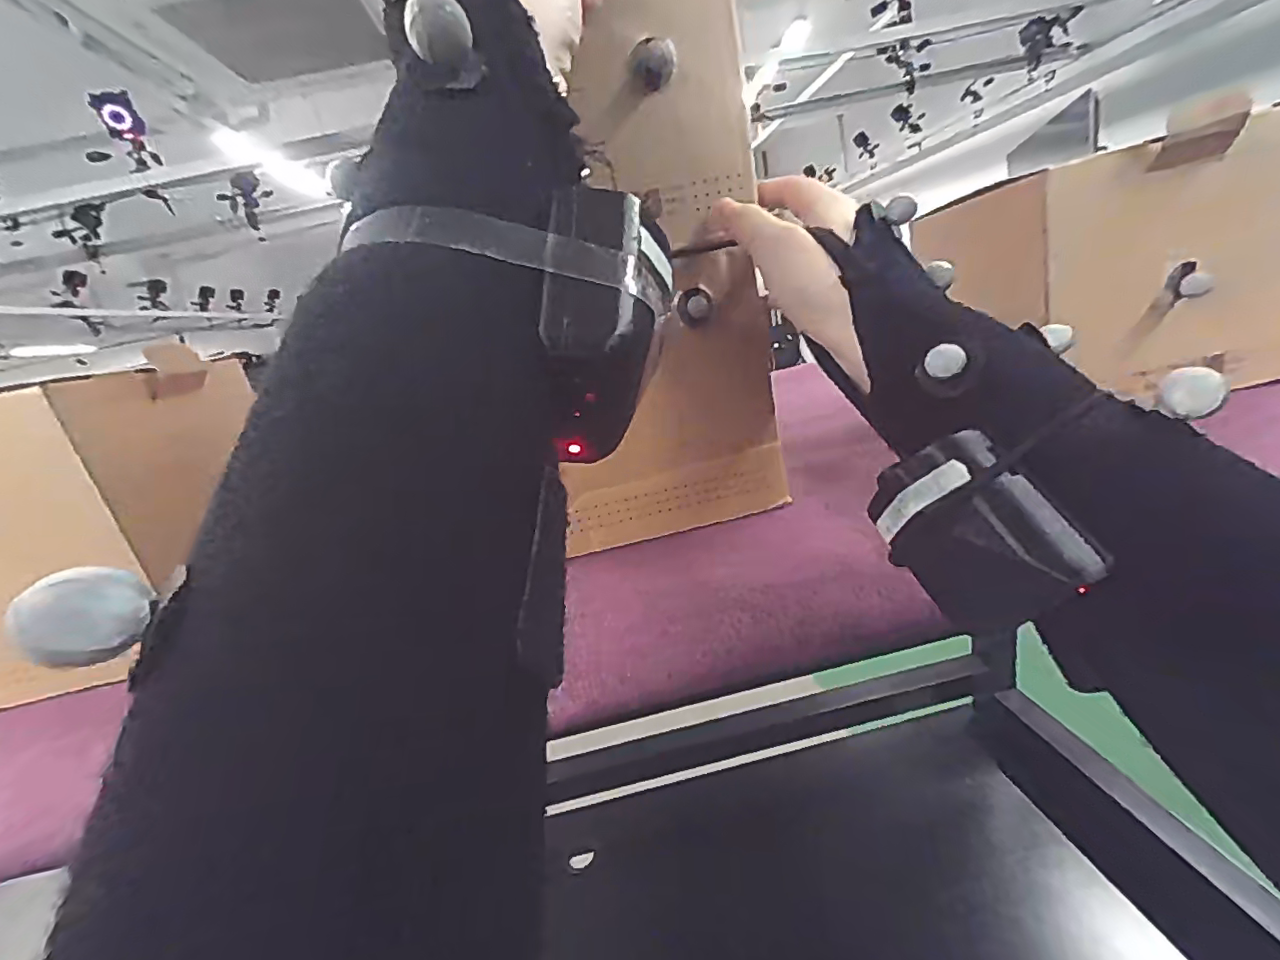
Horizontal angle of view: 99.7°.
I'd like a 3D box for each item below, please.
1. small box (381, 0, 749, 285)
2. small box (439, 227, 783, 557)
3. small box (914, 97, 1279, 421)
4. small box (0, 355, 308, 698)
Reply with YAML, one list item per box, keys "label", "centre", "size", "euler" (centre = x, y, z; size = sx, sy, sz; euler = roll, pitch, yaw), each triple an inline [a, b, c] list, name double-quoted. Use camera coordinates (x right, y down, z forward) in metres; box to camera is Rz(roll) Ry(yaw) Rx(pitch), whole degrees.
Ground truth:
- label: "small box"
  centre: [-0.041, -0.213, 0.341]
  size: [0.168, 0.176, 0.179]
  euler: [-12, 16, -6]
- label: "small box"
  centre: [-0.015, -0.060, 0.388]
  size: [0.179, 0.176, 0.168]
  euler: [-13, 16, -3]
- label: "small box"
  centre: [0.336, -0.150, 0.409]
  size: [0.168, 0.176, 0.179]
  euler: [-13, 15, 4]
- label: "small box"
  centre: [-0.365, 0.024, 0.351]
  size: [0.179, 0.176, 0.168]
  euler: [-13, 18, -3]
